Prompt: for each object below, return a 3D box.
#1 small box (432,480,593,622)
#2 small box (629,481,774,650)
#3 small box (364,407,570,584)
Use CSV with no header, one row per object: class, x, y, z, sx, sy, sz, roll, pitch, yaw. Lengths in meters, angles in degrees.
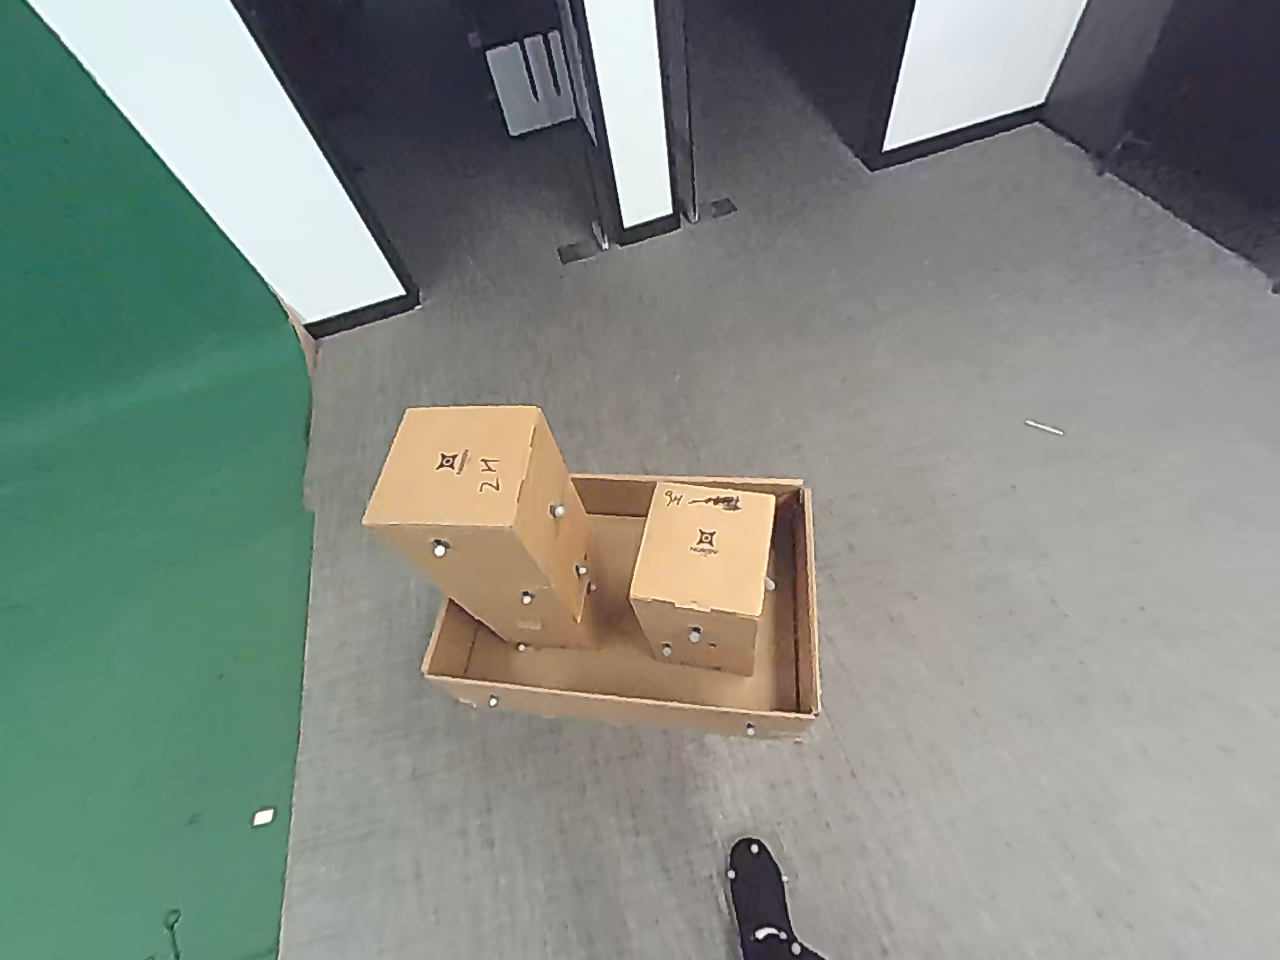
small box,-0.182,0.109,0.825,0.179,0.176,0.168,2,58,8
small box,0.094,0.126,0.768,0.168,0.176,0.179,8,60,13
small box,-0.201,0.024,0.685,0.179,0.176,0.168,1,59,8
